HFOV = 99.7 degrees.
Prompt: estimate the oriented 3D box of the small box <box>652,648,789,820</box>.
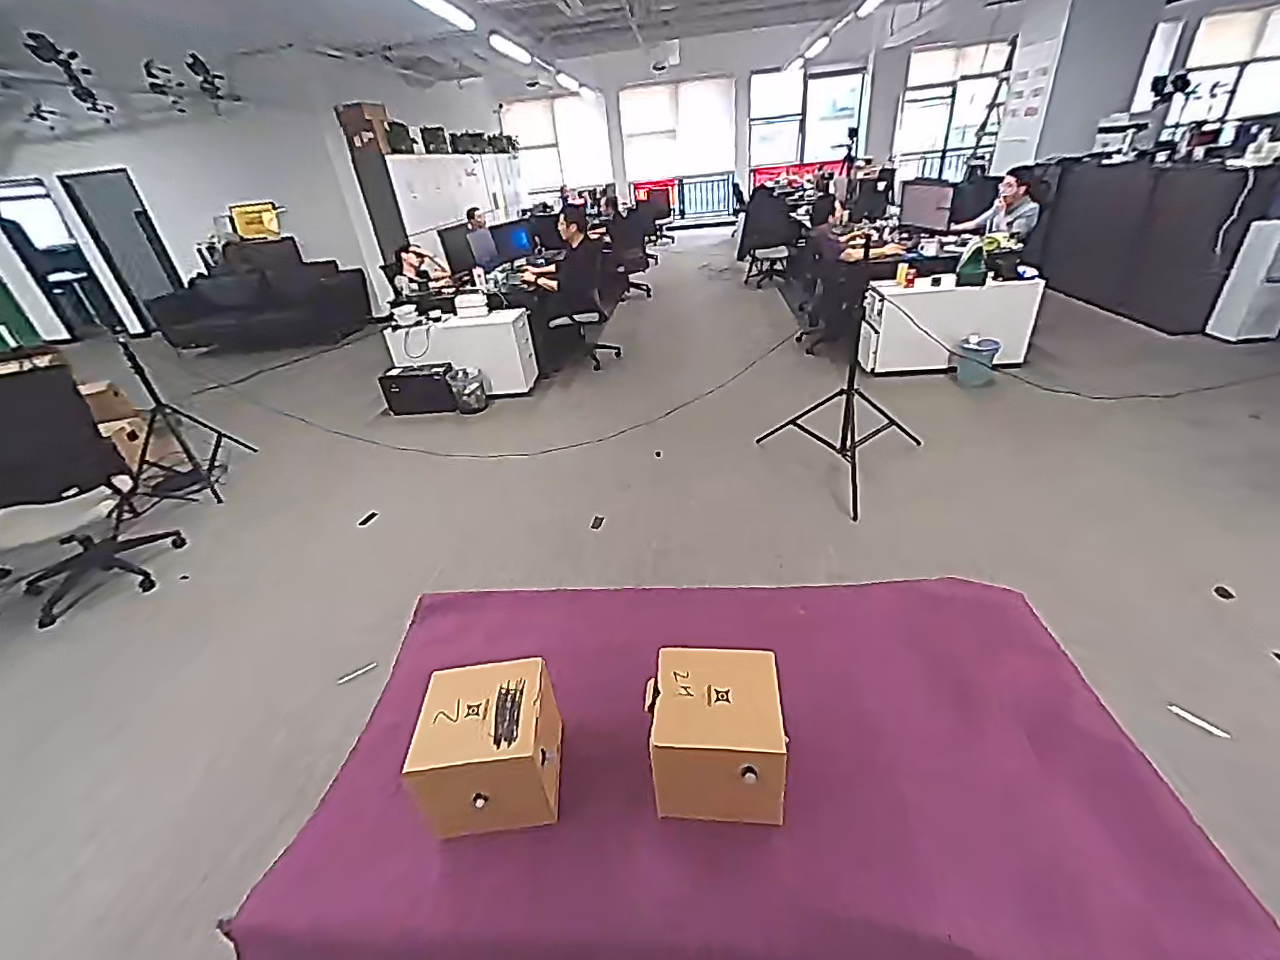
[{"bbox_3d":[0.118,0.370,0.795,0.179,0.176,0.168,-2,30,8],"label":"small box"}]
